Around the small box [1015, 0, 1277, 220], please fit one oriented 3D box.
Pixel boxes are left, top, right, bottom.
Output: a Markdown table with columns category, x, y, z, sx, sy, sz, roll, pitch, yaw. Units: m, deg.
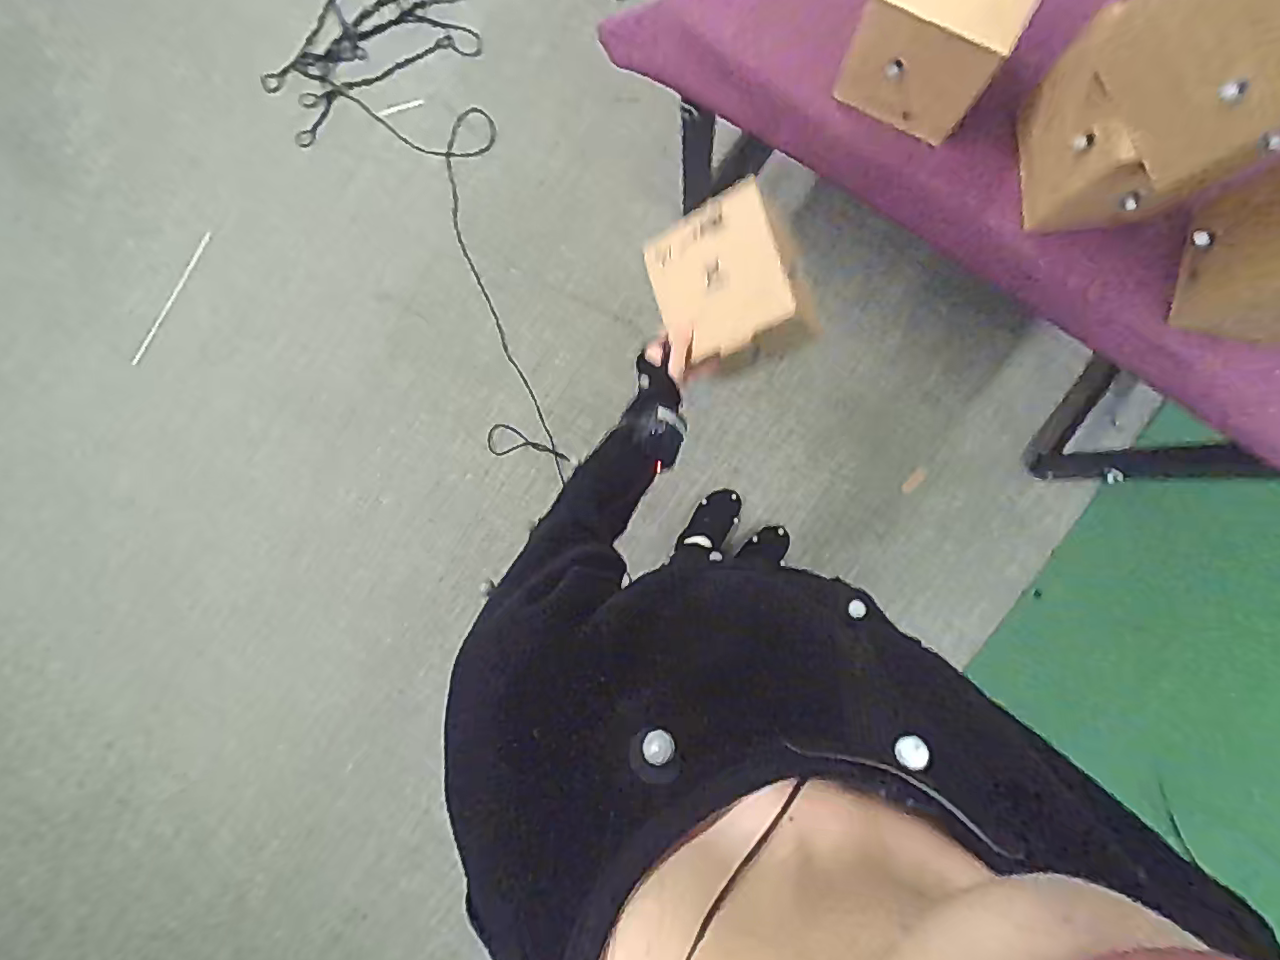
| category | x | y | z | sx | sy | sz | roll | pitch | yaw |
| --- | --- | --- | --- | --- | --- | --- | --- | --- | --- |
| small box | 0.593 | -0.437 | 0.657 | 0.168 | 0.176 | 0.179 | -4 | 89 | 4 |

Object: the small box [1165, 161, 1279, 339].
| category | x | y | z | sx | sy | sz | roll | pitch | yaw |
| --- | --- | --- | --- | --- | --- | --- | --- | --- | --- |
| small box | 0.799 | -0.279 | 0.640 | 0.179 | 0.176 | 0.168 | 13 | 89 | 5 |

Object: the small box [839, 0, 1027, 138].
| category | x | y | z | sx | sy | sz | roll | pitch | yaw |
| --- | --- | --- | --- | --- | --- | --- | --- | --- | --- |
| small box | 0.373 | -0.581 | 0.678 | 0.168 | 0.176 | 0.179 | 28 | 91 | 4 |
